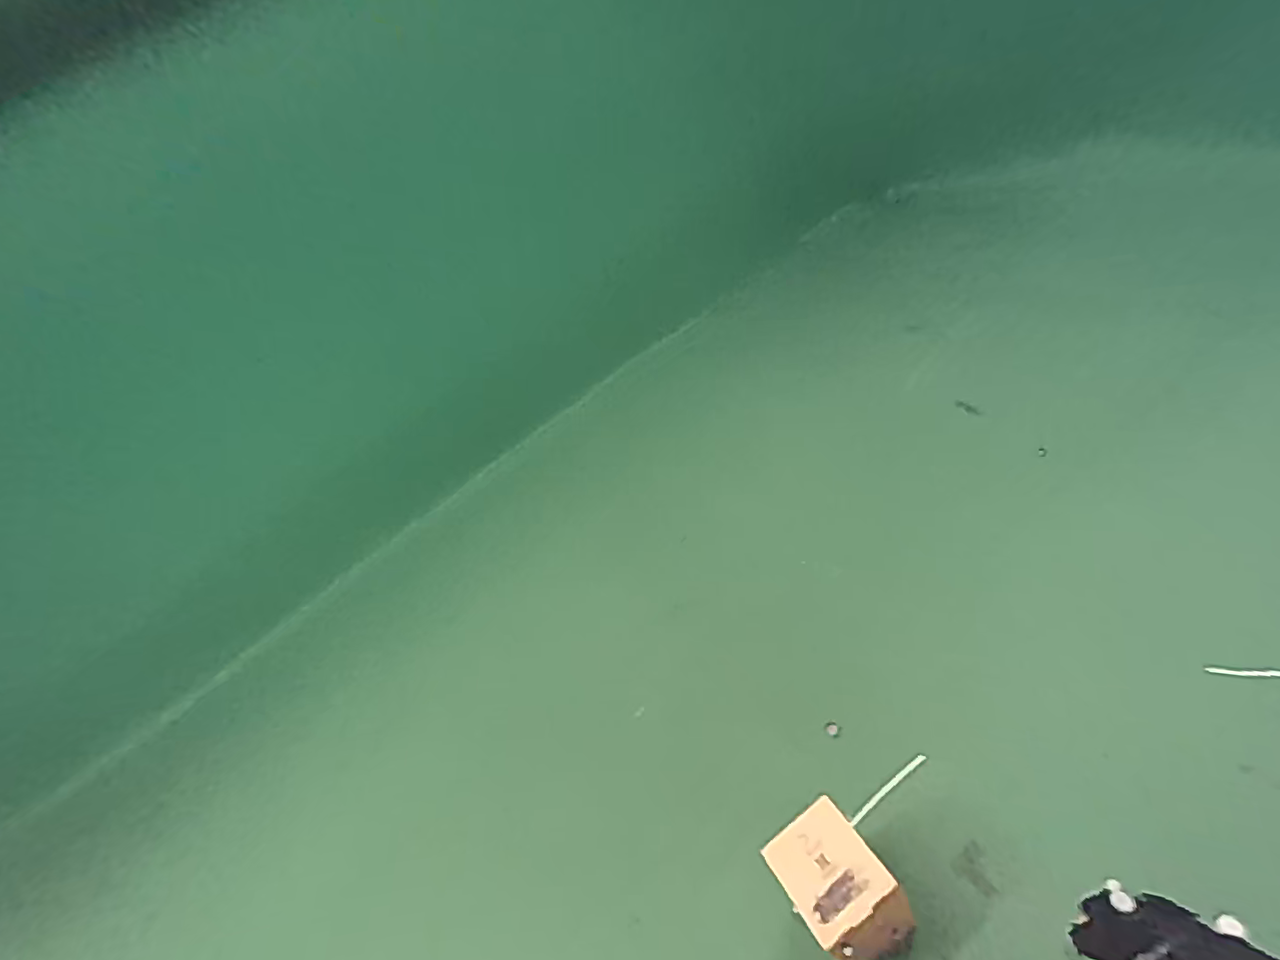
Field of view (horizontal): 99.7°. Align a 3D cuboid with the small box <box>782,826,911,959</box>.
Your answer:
[{"bbox_3d":[0.427,0.864,1.111,0.168,0.176,0.179,-35,38,-5],"label":"small box"}]
